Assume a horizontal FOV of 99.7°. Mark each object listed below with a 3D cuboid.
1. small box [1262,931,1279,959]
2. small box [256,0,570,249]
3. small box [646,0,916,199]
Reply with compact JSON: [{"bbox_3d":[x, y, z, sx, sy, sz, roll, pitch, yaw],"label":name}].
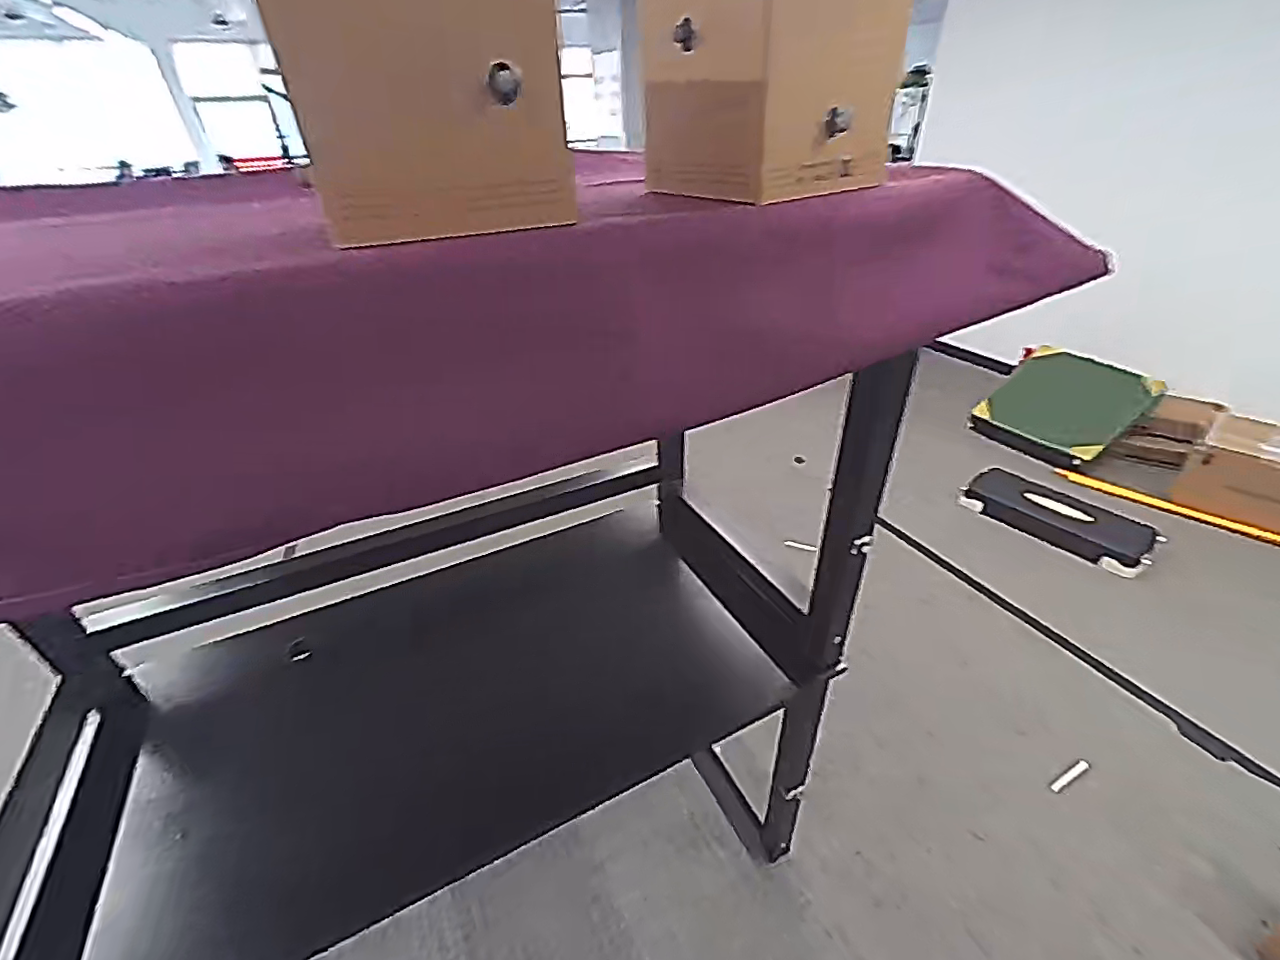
[{"bbox_3d":[1.423,0.963,1.063,0.168,0.176,0.179,-14,37,-17],"label":"small box"},{"bbox_3d":[-0.158,-0.283,0.406,0.179,0.176,0.168,-16,35,-18],"label":"small box"},{"bbox_3d":[0.118,-0.365,0.505,0.168,0.176,0.179,-22,37,-25],"label":"small box"}]
